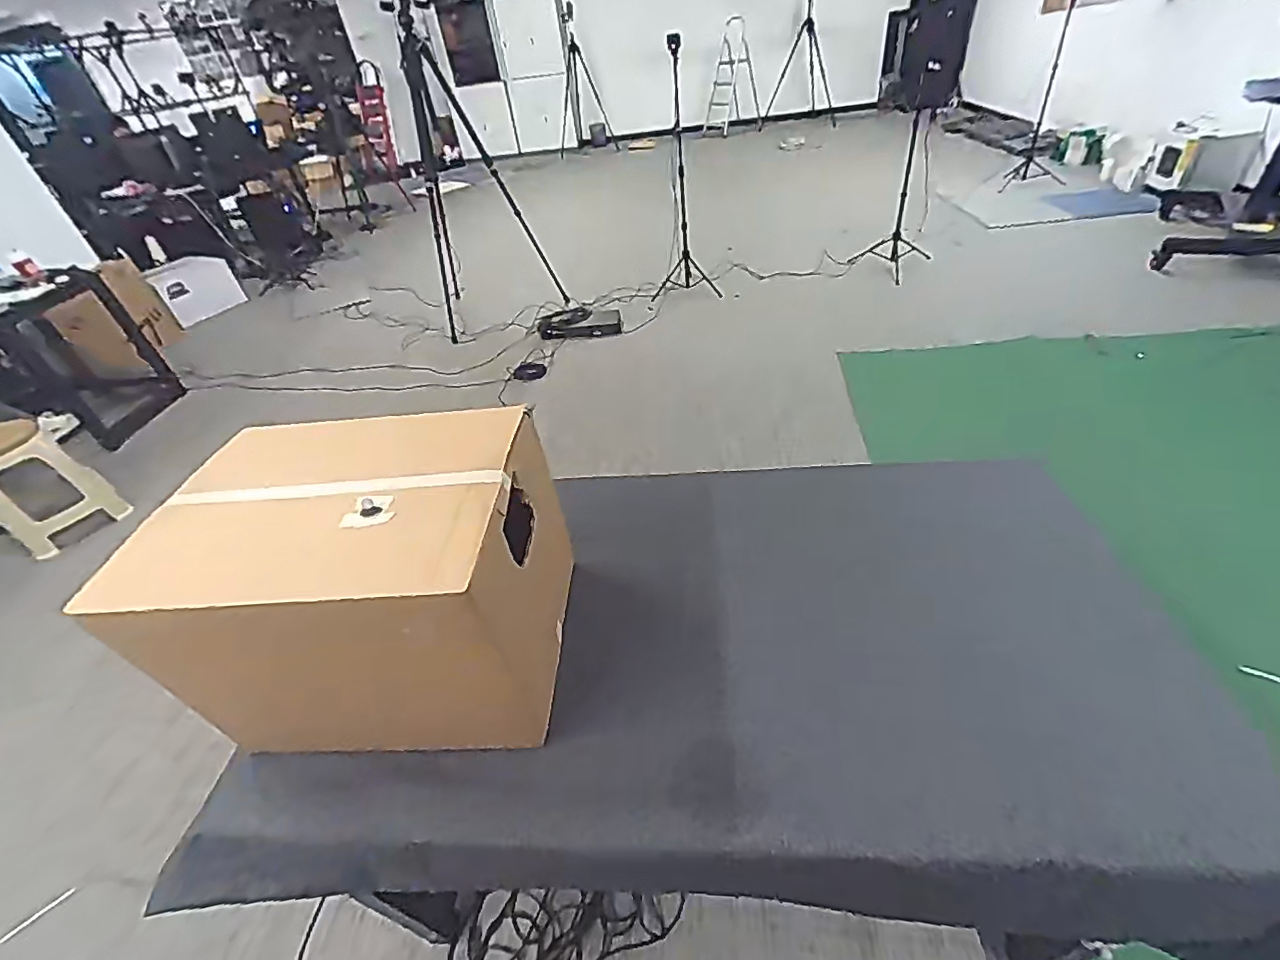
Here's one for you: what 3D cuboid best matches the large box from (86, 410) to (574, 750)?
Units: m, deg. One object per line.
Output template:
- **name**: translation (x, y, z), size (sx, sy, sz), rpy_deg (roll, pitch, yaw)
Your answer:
- **large box**: translation (-0.322, 0.130, 0.712), size (0.408, 0.320, 0.320), rpy_deg (-3, 40, 4)
